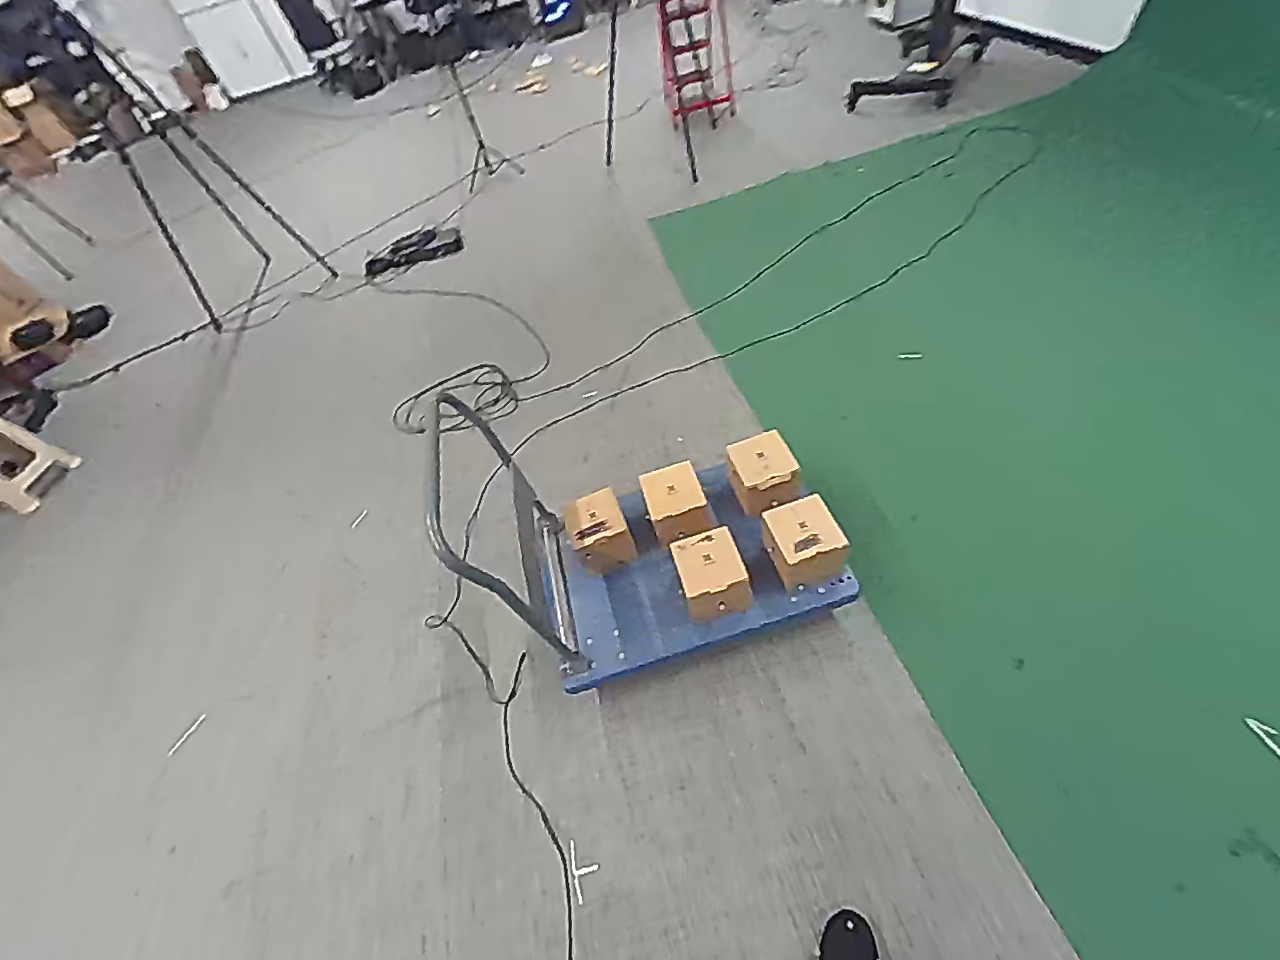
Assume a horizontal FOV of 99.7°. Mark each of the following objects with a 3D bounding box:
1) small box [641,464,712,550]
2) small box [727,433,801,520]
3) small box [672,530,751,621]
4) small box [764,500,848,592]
[{"bbox_3d":[0.113,0.085,1.653,0.168,0.176,0.179,-18,52,0],"label":"small box"},{"bbox_3d":[0.377,-0.009,1.656,0.168,0.176,0.179,-20,50,0],"label":"small box"},{"bbox_3d":[0.198,0.269,1.484,0.168,0.176,0.179,-17,51,0],"label":"small box"},{"bbox_3d":[0.455,0.192,1.500,0.168,0.176,0.179,-19,50,-1],"label":"small box"}]
